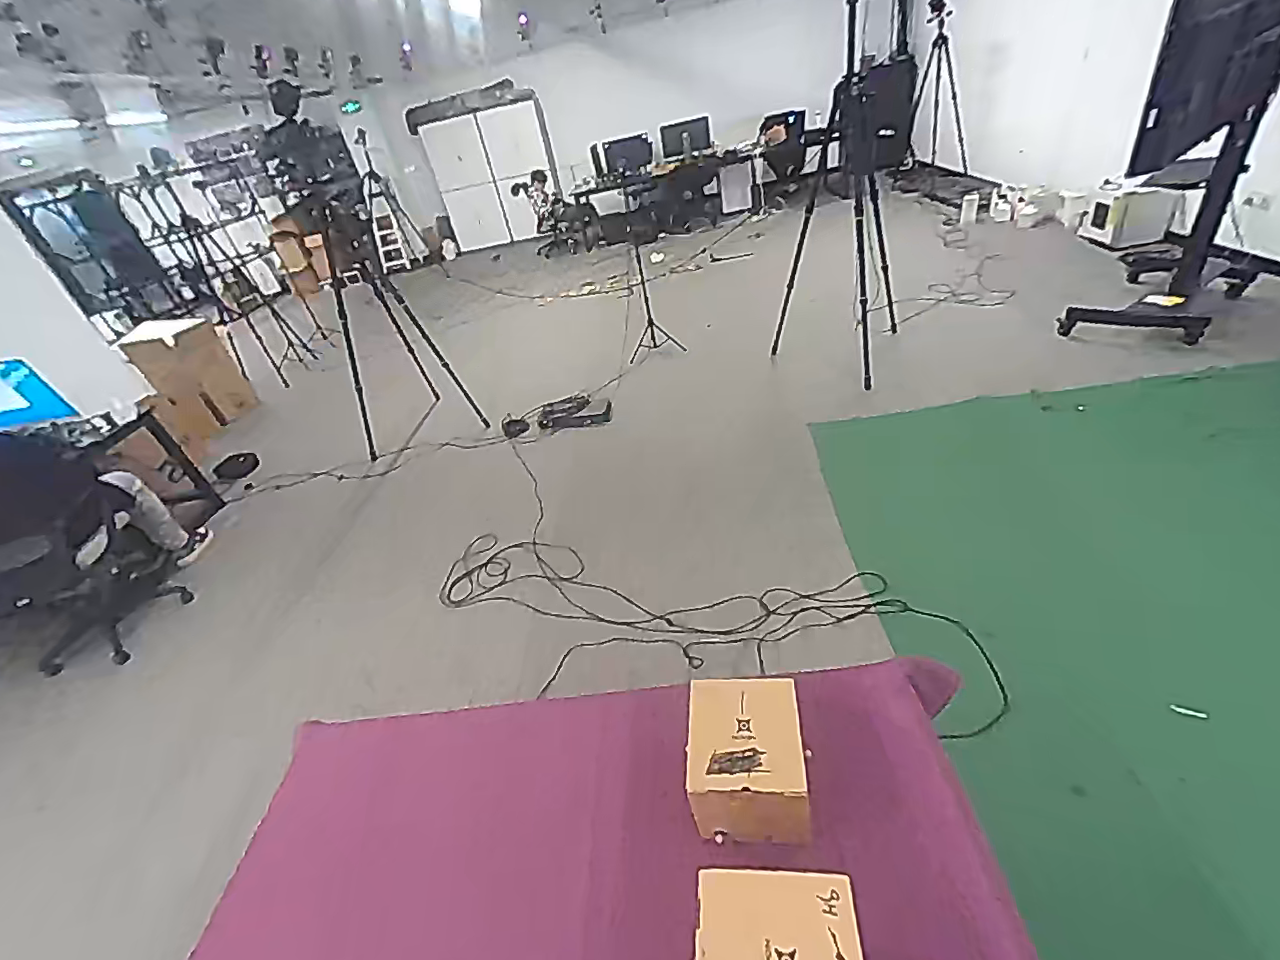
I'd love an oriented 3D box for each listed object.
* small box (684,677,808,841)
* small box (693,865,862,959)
[{"bbox_3d":[0.167,0.431,0.840,0.168,0.176,0.179,-5,36,12],"label":"small box"},{"bbox_3d":[0.159,0.565,0.607,0.179,0.176,0.168,-6,34,13],"label":"small box"}]
